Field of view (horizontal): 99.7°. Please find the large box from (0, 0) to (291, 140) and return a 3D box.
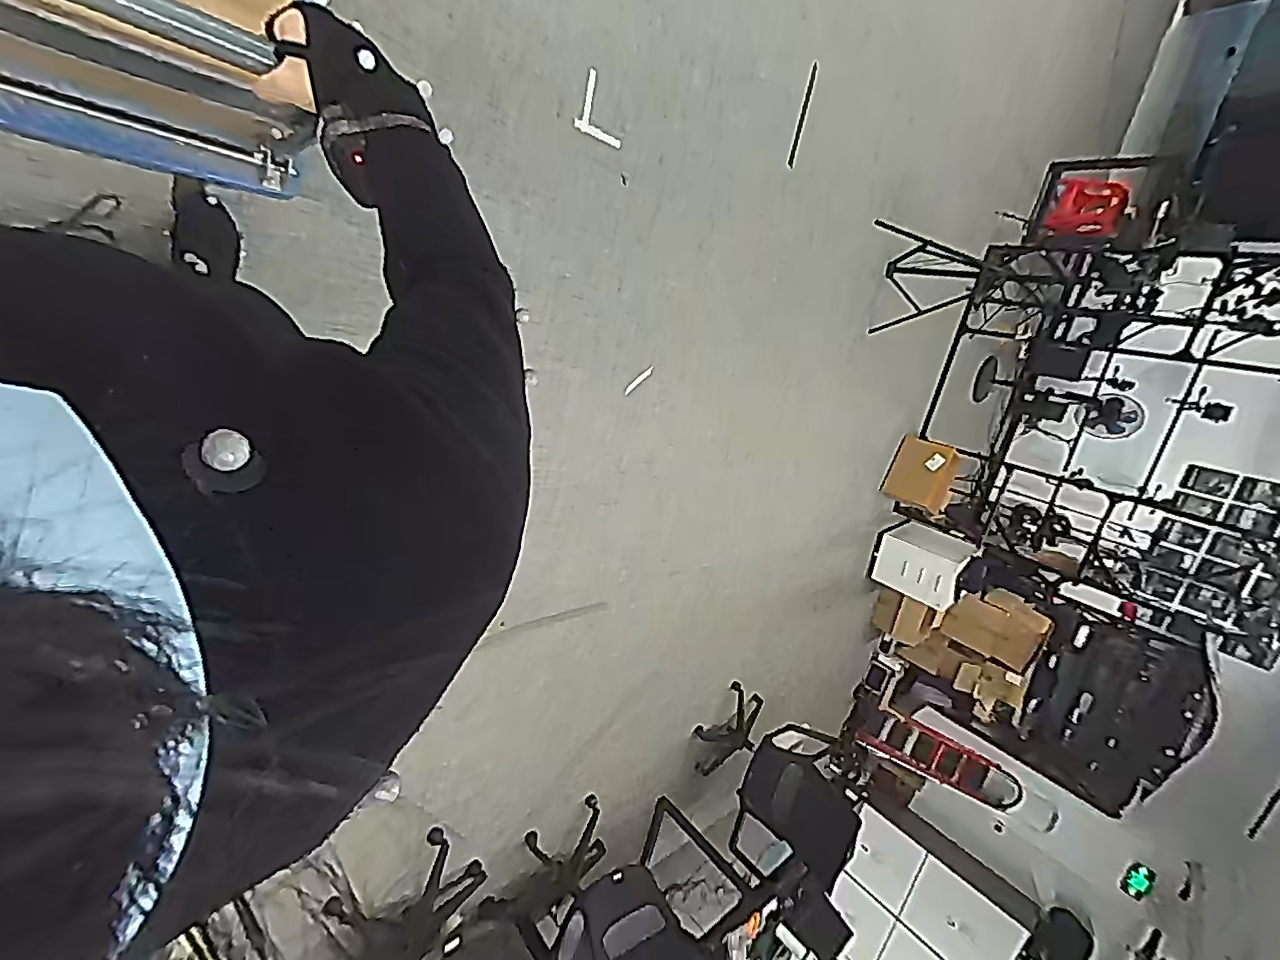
[{"bbox_3d":[-0.715,-0.688,0.686,0.408,0.320,0.320,-5,112,-44],"label":"large box"}]
